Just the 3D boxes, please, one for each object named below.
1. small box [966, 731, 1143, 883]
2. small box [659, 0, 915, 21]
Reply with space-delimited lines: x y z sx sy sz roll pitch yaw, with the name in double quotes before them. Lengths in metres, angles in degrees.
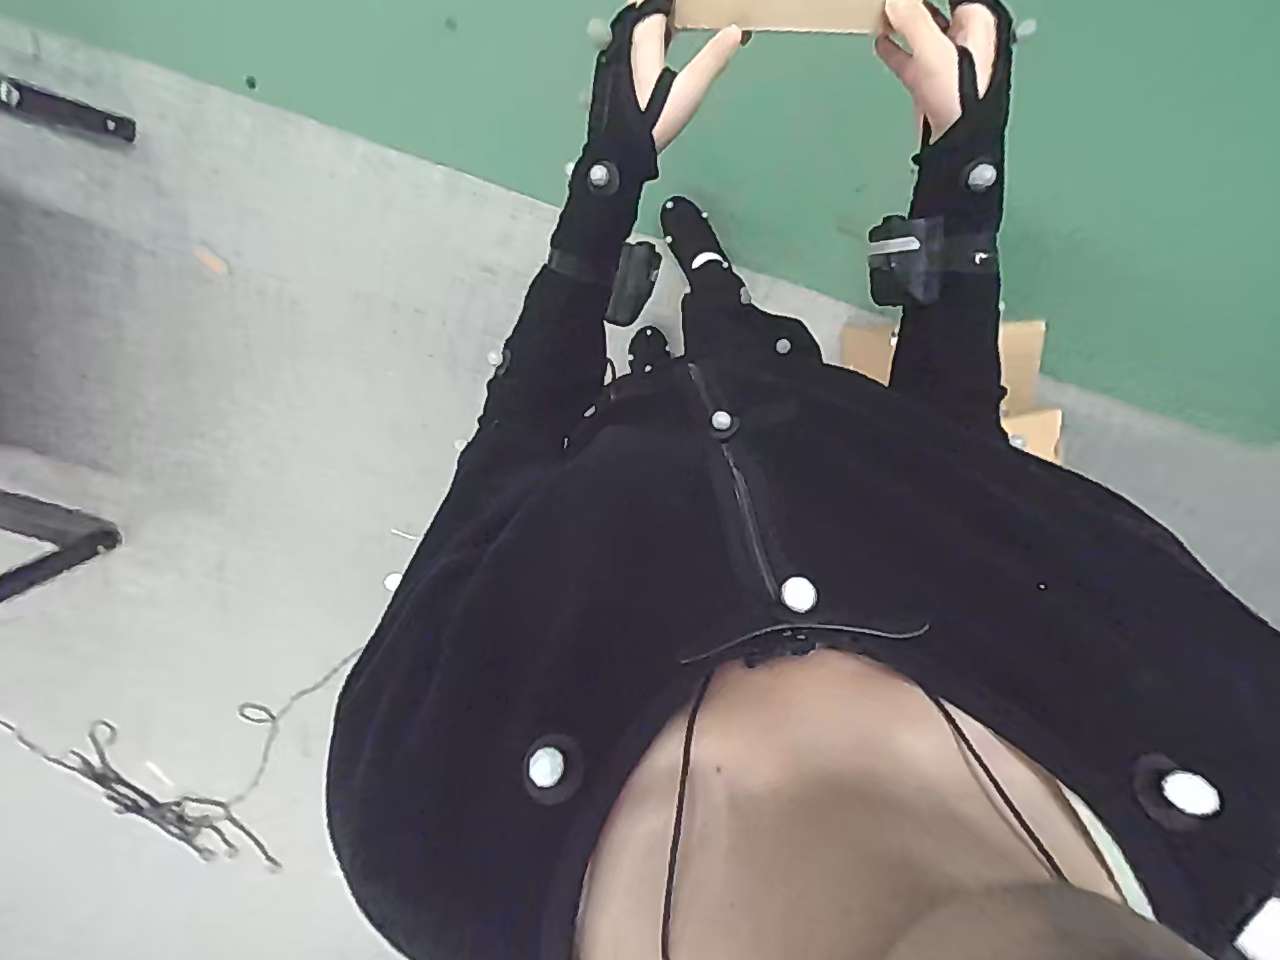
"small box" 0.770 0.613 1.032 0.179 0.176 0.168 15 108 -3
"small box" 0.093 -0.421 0.353 0.168 0.176 0.179 -3 135 -5
